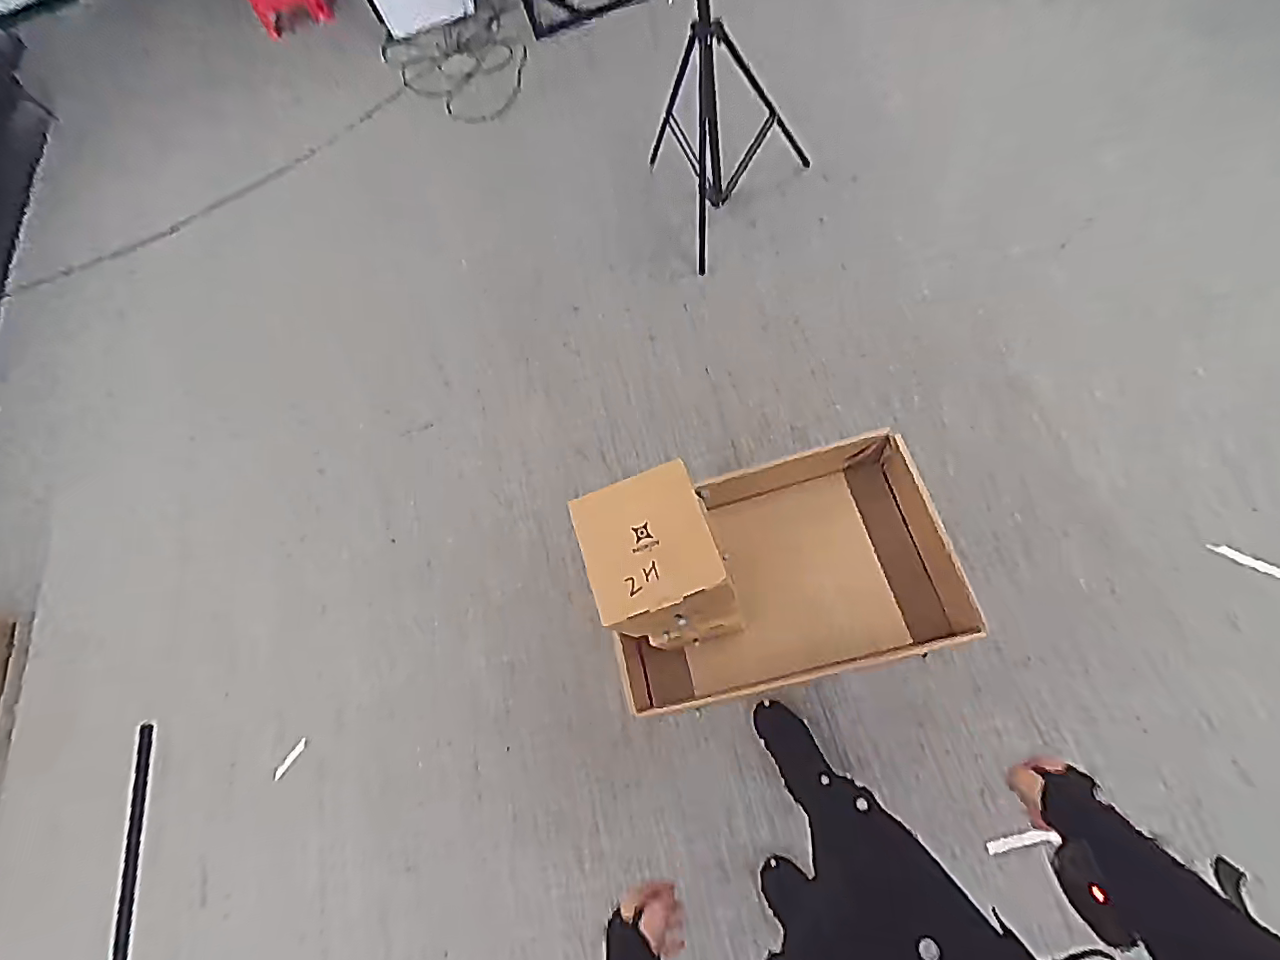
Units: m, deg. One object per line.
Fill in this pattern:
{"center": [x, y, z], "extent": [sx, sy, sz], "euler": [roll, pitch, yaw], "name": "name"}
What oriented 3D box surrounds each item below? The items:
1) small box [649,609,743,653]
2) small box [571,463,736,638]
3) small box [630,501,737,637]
{"center": [0.095, 0.226, 1.050], "extent": [0.168, 0.176, 0.179], "euler": [-18, 67, 7], "name": "small box"}
{"center": [0.025, 0.106, 0.752], "extent": [0.168, 0.176, 0.179], "euler": [-22, 67, 5], "name": "small box"}
{"center": [0.058, 0.157, 0.905], "extent": [0.168, 0.176, 0.179], "euler": [-18, 66, 6], "name": "small box"}
